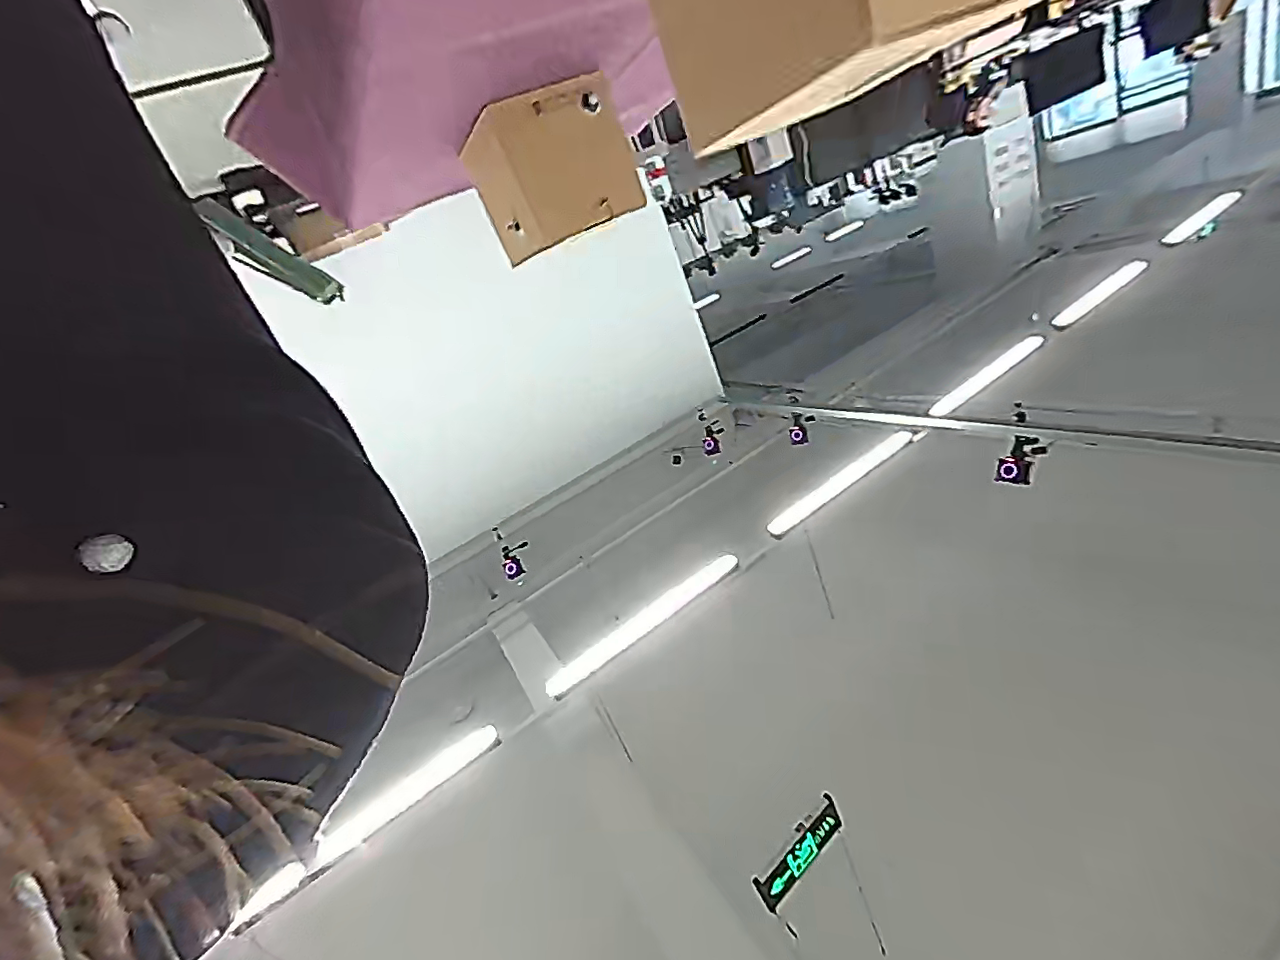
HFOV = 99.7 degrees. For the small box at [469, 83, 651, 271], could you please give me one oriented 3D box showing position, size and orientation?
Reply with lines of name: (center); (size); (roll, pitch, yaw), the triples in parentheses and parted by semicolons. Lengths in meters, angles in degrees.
small box: (-0.118, -0.419, 0.756); (0.168, 0.176, 0.179); (-32, -156, -19)
